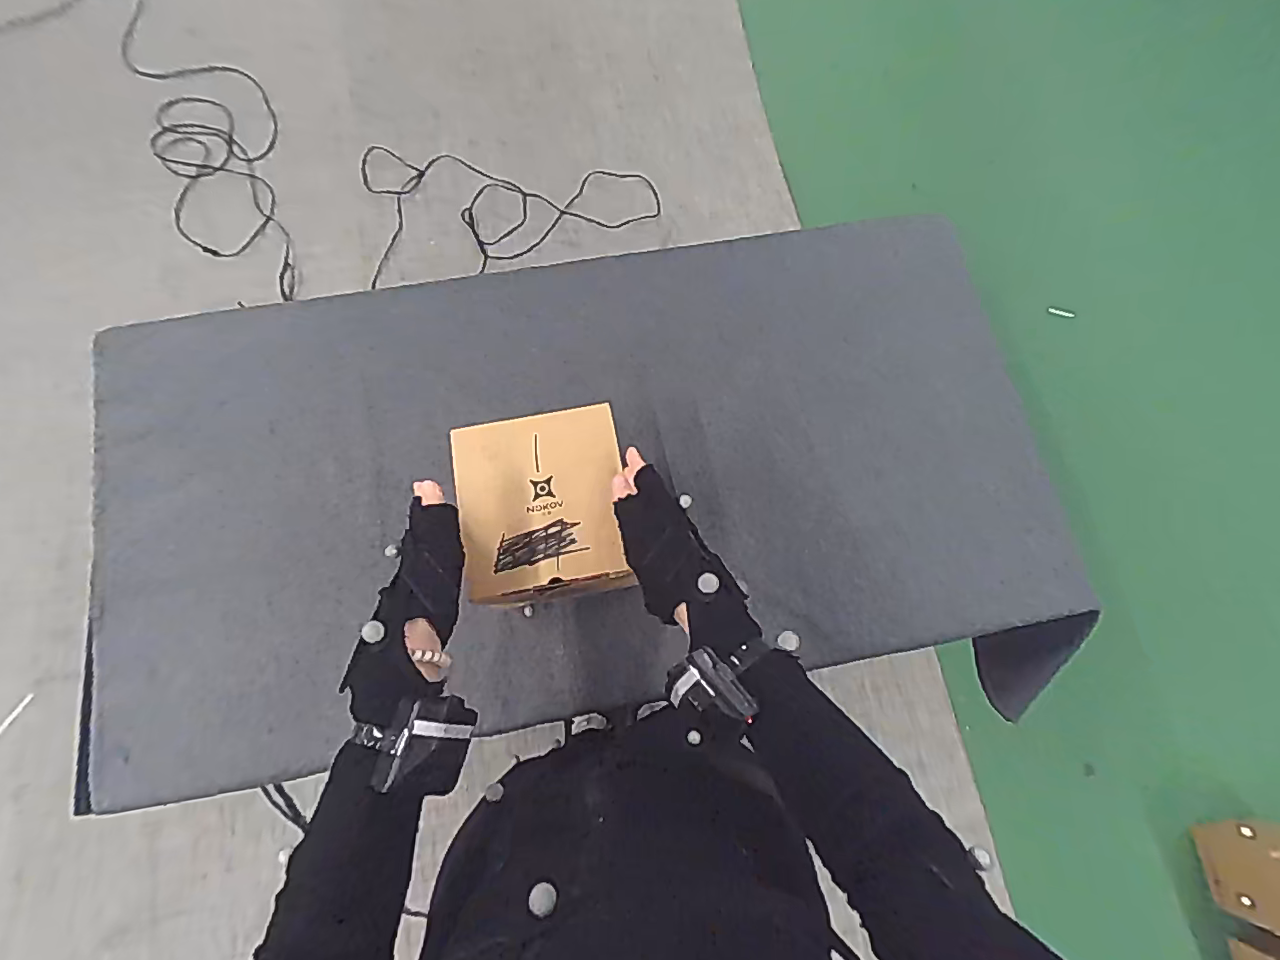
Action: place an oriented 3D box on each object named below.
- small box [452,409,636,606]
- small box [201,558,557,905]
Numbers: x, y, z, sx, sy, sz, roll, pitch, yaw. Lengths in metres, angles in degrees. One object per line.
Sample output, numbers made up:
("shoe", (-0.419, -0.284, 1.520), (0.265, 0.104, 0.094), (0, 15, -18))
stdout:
("small box", (-0.098, 0.043, 0.613), (0.168, 0.176, 0.179), (-11, 74, -4))
("small box", (-0.189, 0.200, 0.441), (0.176, 0.179, 0.168), (-24, 117, 13))
